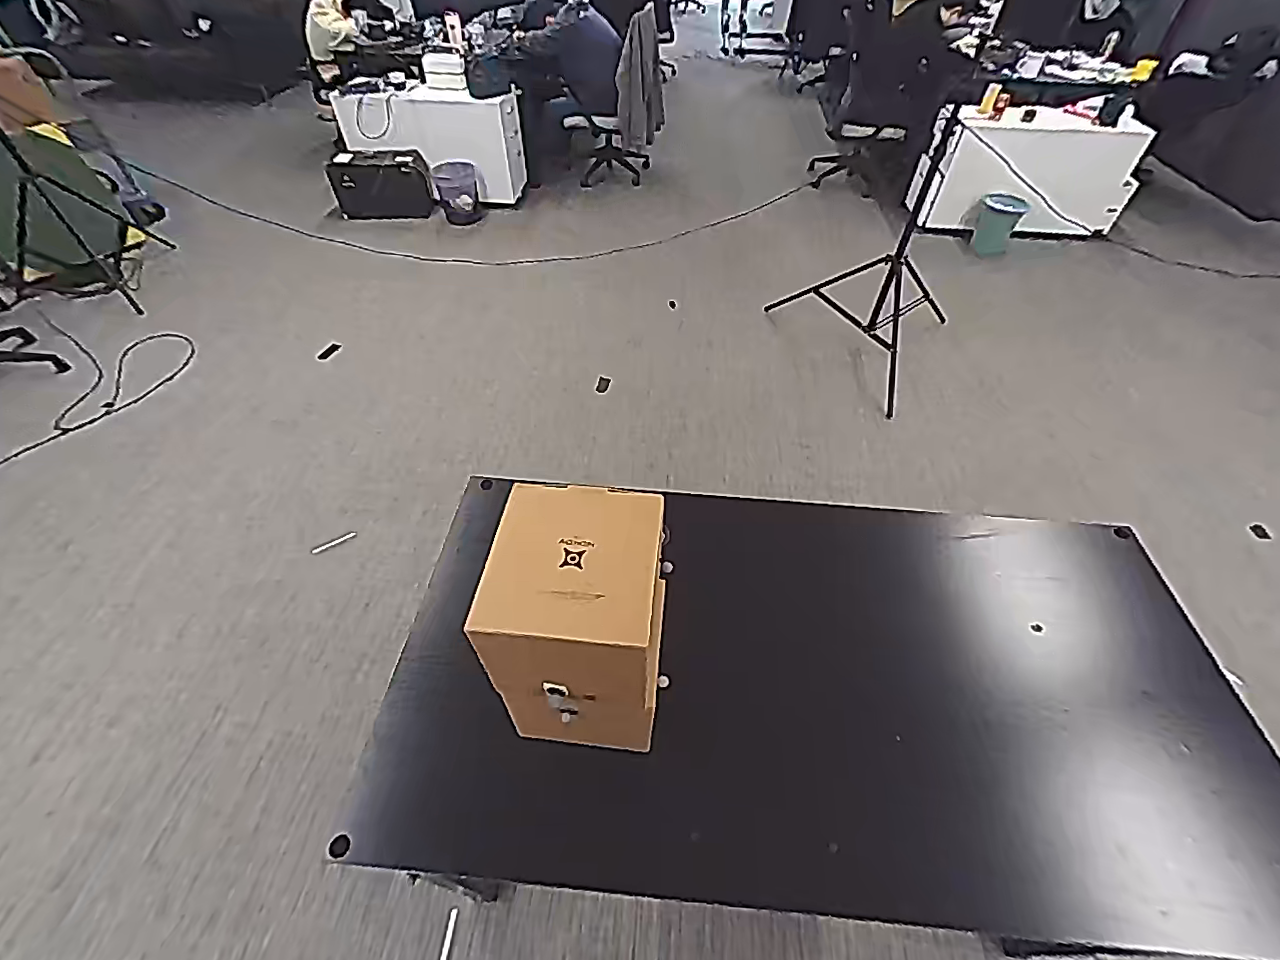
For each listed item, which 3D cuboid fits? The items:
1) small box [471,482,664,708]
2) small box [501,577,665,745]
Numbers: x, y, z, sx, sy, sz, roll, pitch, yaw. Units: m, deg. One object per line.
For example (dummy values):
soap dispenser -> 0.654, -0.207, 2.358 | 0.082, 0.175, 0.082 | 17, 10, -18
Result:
small box -> -0.064, 0.126, 0.592 | 0.168, 0.176, 0.179 | 3, 49, 4
small box -> -0.064, 0.233, 0.714 | 0.179, 0.176, 0.168 | 6, 48, 3
